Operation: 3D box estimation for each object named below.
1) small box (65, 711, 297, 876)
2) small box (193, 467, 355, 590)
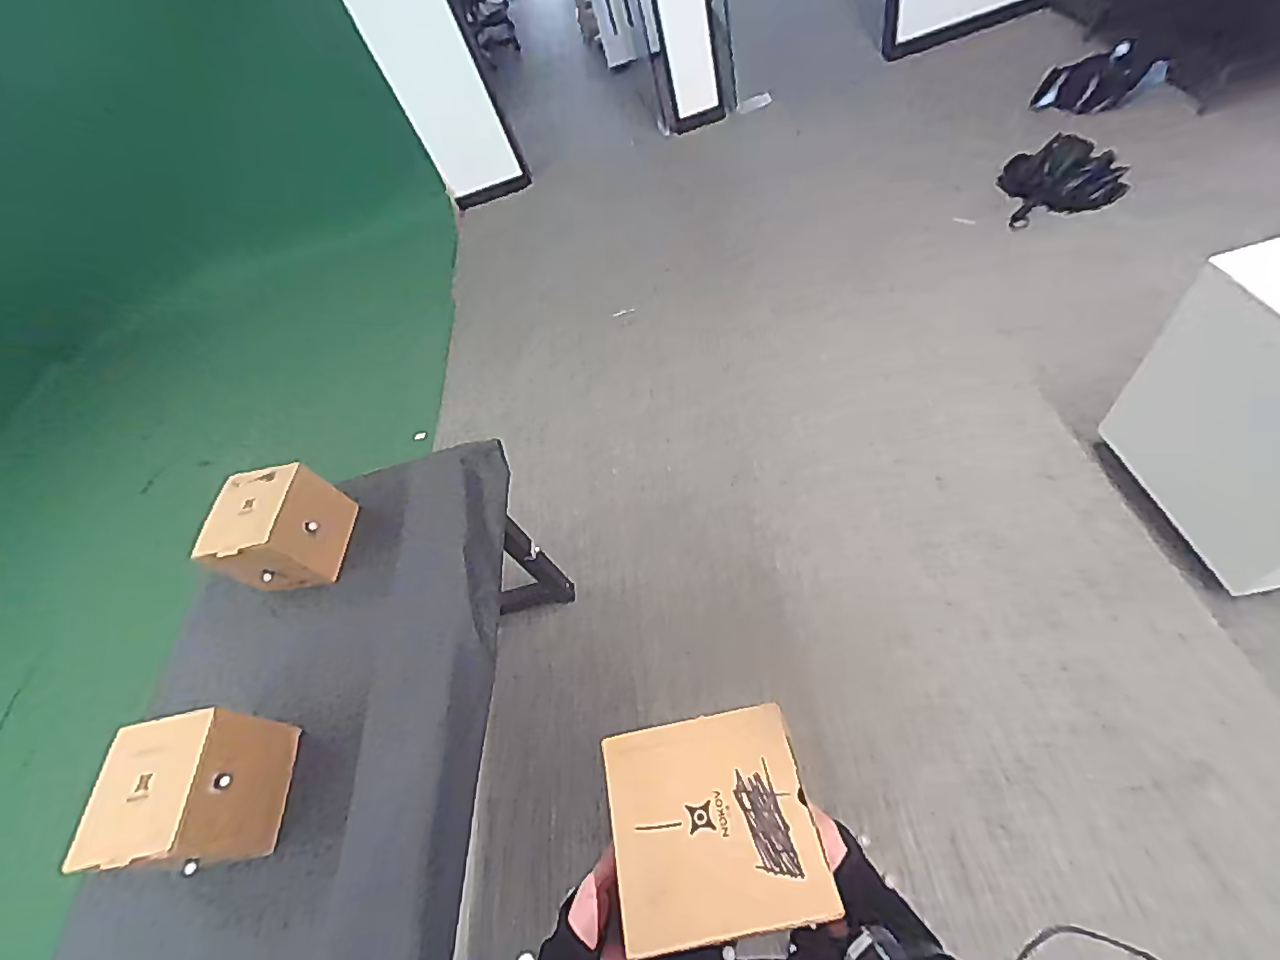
[{"bbox_3d":[-0.643,0.457,0.787,0.168,0.176,0.179,-14,53,7],"label":"small box"},{"bbox_3d":[-0.685,0.101,1.037,0.168,0.176,0.179,-9,56,11],"label":"small box"}]
